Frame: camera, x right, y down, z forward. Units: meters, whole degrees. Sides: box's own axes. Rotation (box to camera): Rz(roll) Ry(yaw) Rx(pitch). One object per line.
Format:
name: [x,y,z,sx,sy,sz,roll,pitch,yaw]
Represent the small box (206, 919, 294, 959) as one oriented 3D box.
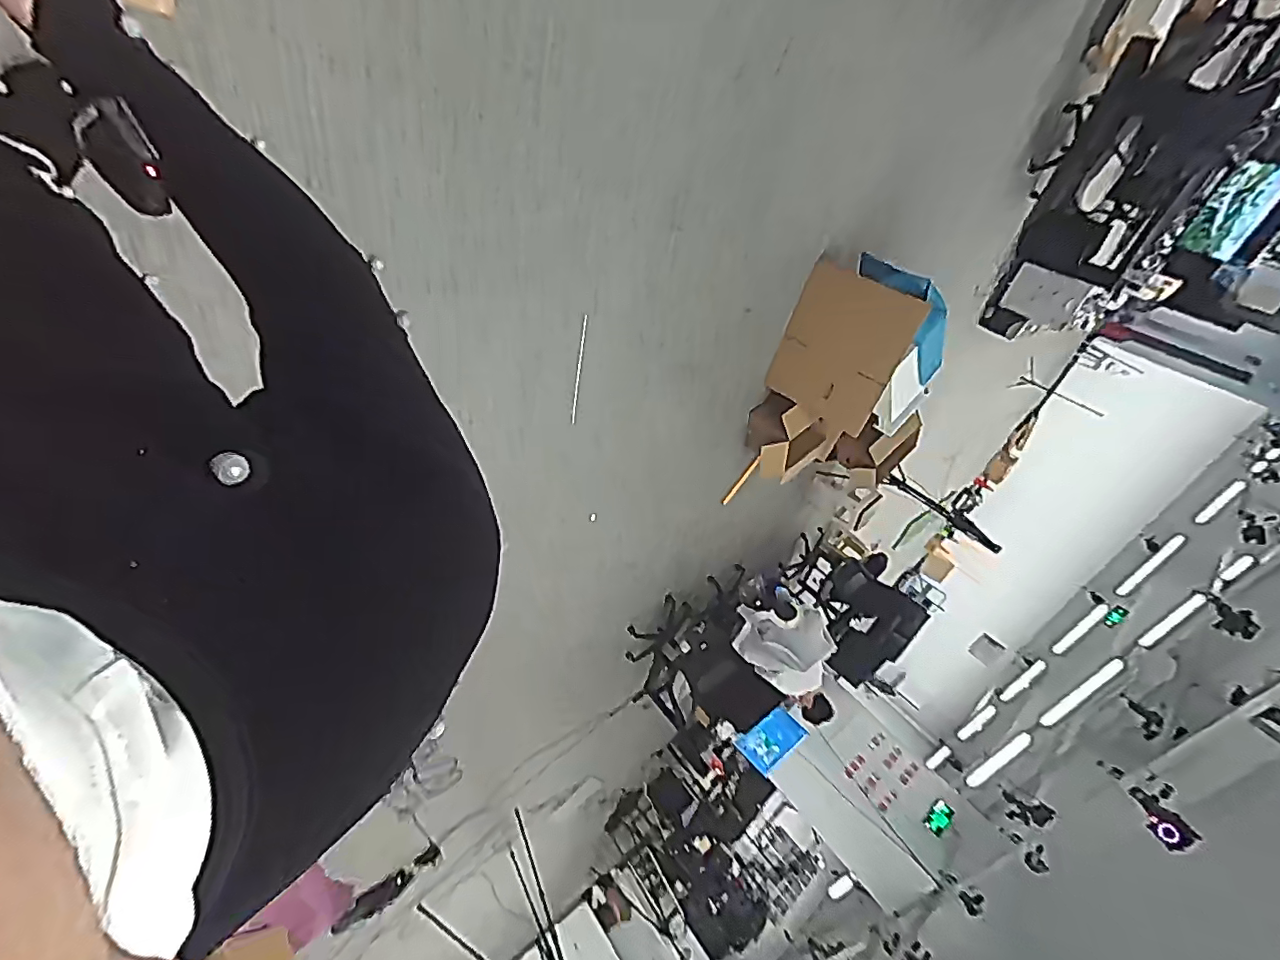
small box: [-1.111,1.388,1.507,0.168,0.176,0.179,-50,148,4]
